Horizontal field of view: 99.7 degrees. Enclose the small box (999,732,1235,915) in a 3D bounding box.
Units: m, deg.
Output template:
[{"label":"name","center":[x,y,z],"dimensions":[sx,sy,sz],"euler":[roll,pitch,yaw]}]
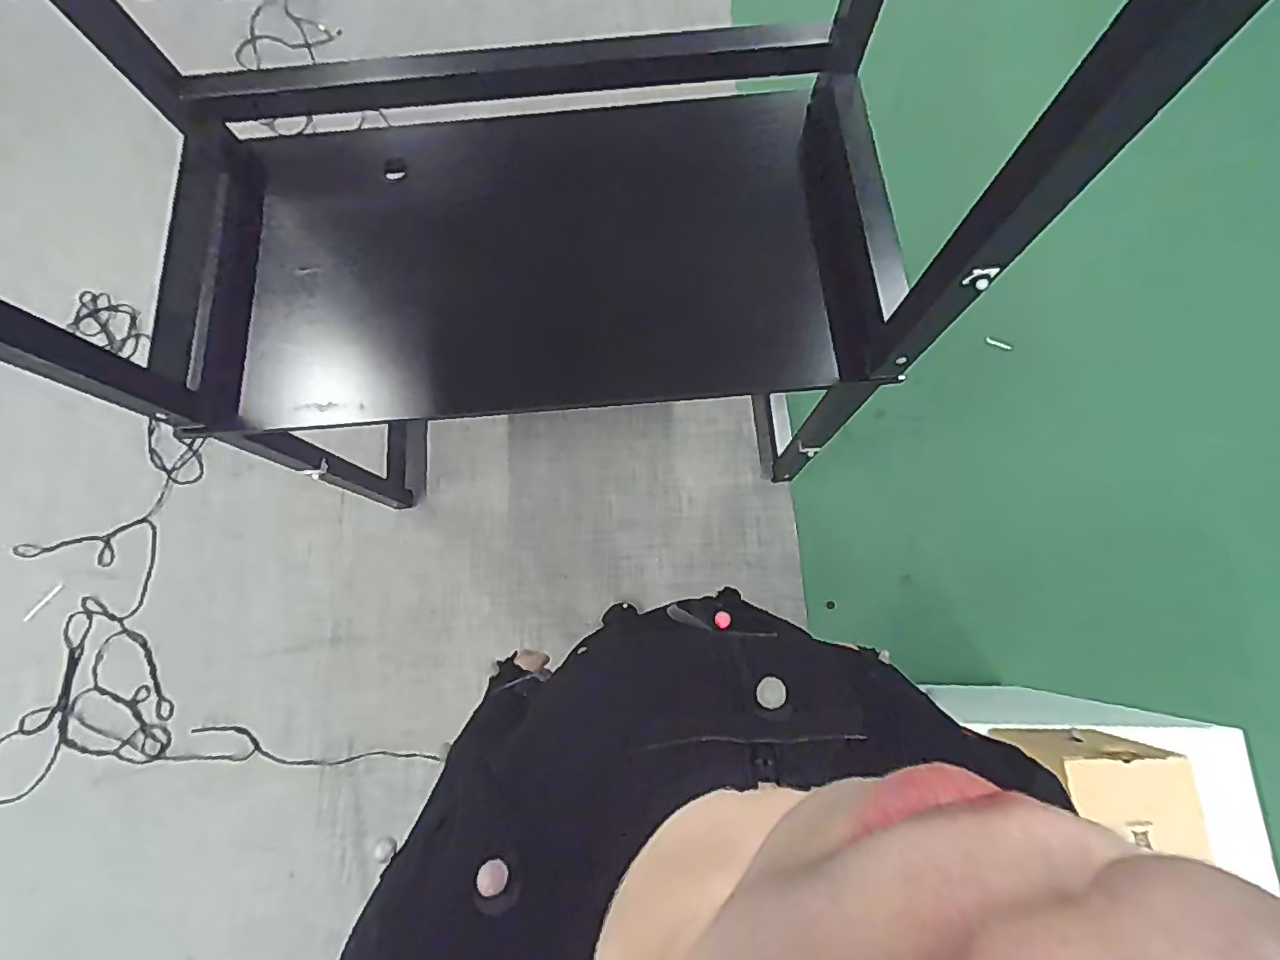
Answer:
[{"label":"small box","center":[0.632,0.456,0.746],"dimensions":[0.168,0.176,0.179],"euler":[-1,76,2]}]
